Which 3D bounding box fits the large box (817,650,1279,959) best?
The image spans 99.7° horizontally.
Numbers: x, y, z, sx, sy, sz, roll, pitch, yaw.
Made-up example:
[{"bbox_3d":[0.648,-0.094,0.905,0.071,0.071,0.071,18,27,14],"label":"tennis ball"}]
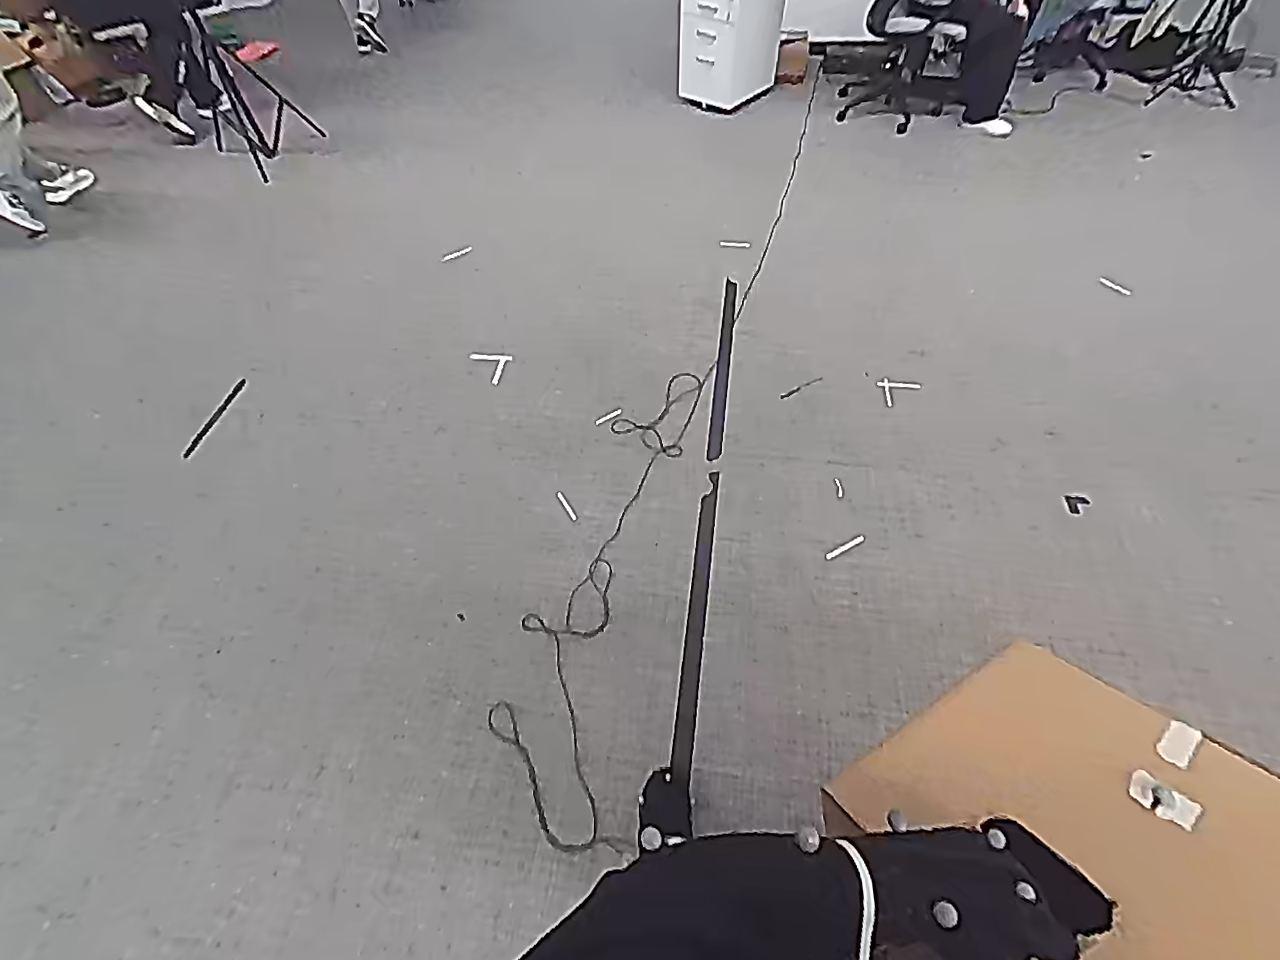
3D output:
[{"bbox_3d":[0.426,0.470,0.559,0.320,0.408,0.320,-25,29,-16],"label":"large box"}]
